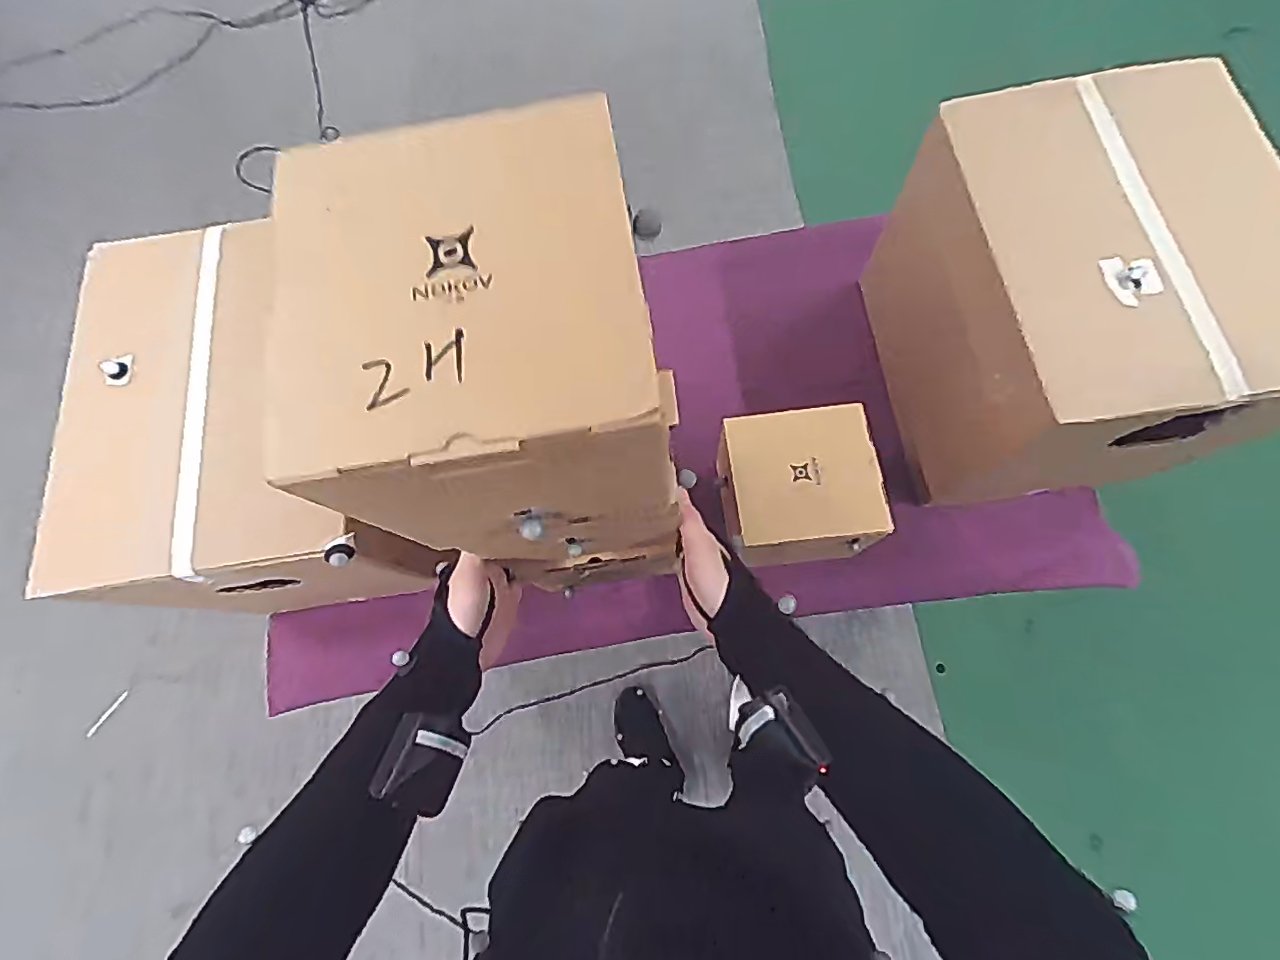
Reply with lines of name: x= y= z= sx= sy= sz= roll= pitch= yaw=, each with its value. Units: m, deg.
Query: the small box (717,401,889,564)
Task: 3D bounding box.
small box: x=0.199 y=0.013 z=0.721 sx=0.179 sy=0.176 sz=0.168 roll=-6 pitch=72 yaw=2

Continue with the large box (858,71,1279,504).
large box: x=0.521 y=-0.212 z=0.695 sx=0.320 sy=0.320 sz=0.408 roll=-8 pitch=74 yaw=3

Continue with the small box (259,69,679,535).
small box: x=-0.073 y=-0.077 z=0.307 sx=0.168 sy=0.176 sz=0.179 roll=-9 pitch=75 yaw=1

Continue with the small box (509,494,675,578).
small box: x=-0.050 y=0.015 z=0.623 sx=0.168 sy=0.176 sz=0.179 roll=-8 pitch=73 yaw=0
